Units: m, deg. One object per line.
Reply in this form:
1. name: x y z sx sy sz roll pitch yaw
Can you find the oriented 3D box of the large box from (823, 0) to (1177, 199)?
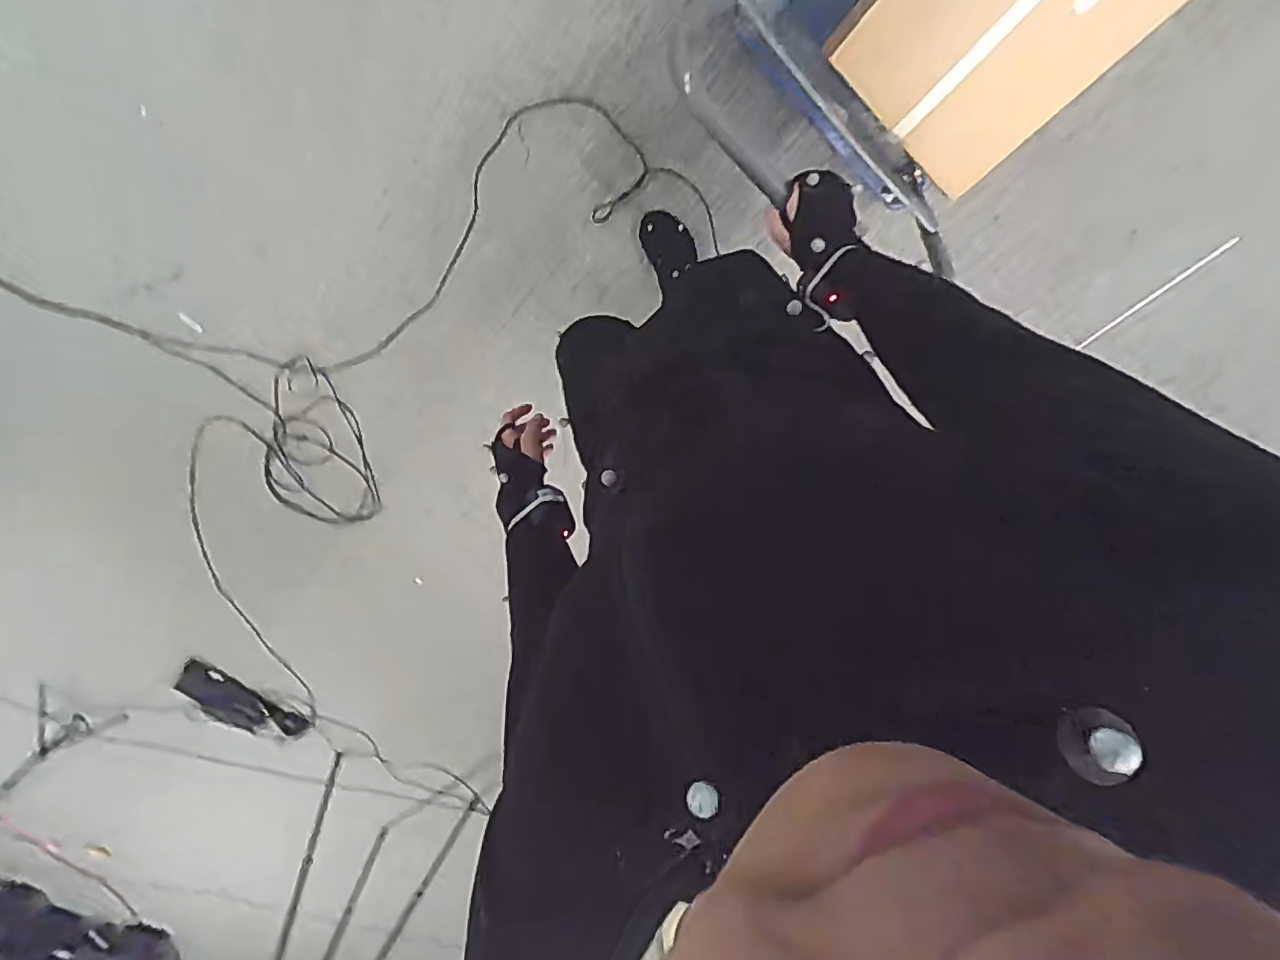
1. large box: 0.558 -0.758 0.873 0.320 0.320 0.408 37 129 -17
